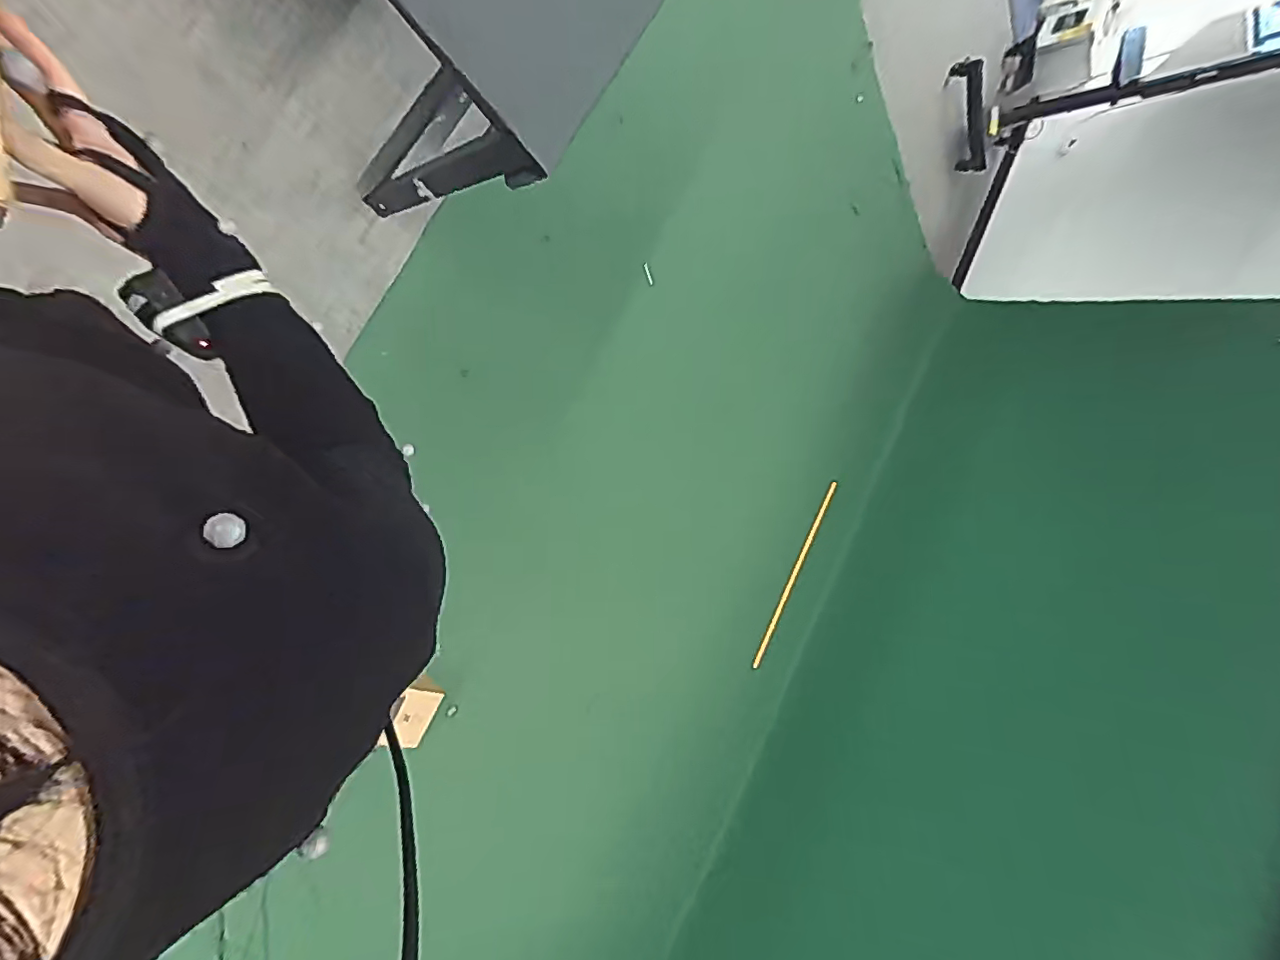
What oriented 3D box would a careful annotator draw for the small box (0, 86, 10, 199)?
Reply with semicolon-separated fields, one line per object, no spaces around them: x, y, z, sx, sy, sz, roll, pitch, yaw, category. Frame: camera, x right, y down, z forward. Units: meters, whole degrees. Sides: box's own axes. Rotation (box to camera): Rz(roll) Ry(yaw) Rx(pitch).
-0.431;-0.243;0.246;0.168;0.176;0.179;-9;111;-52;small box
